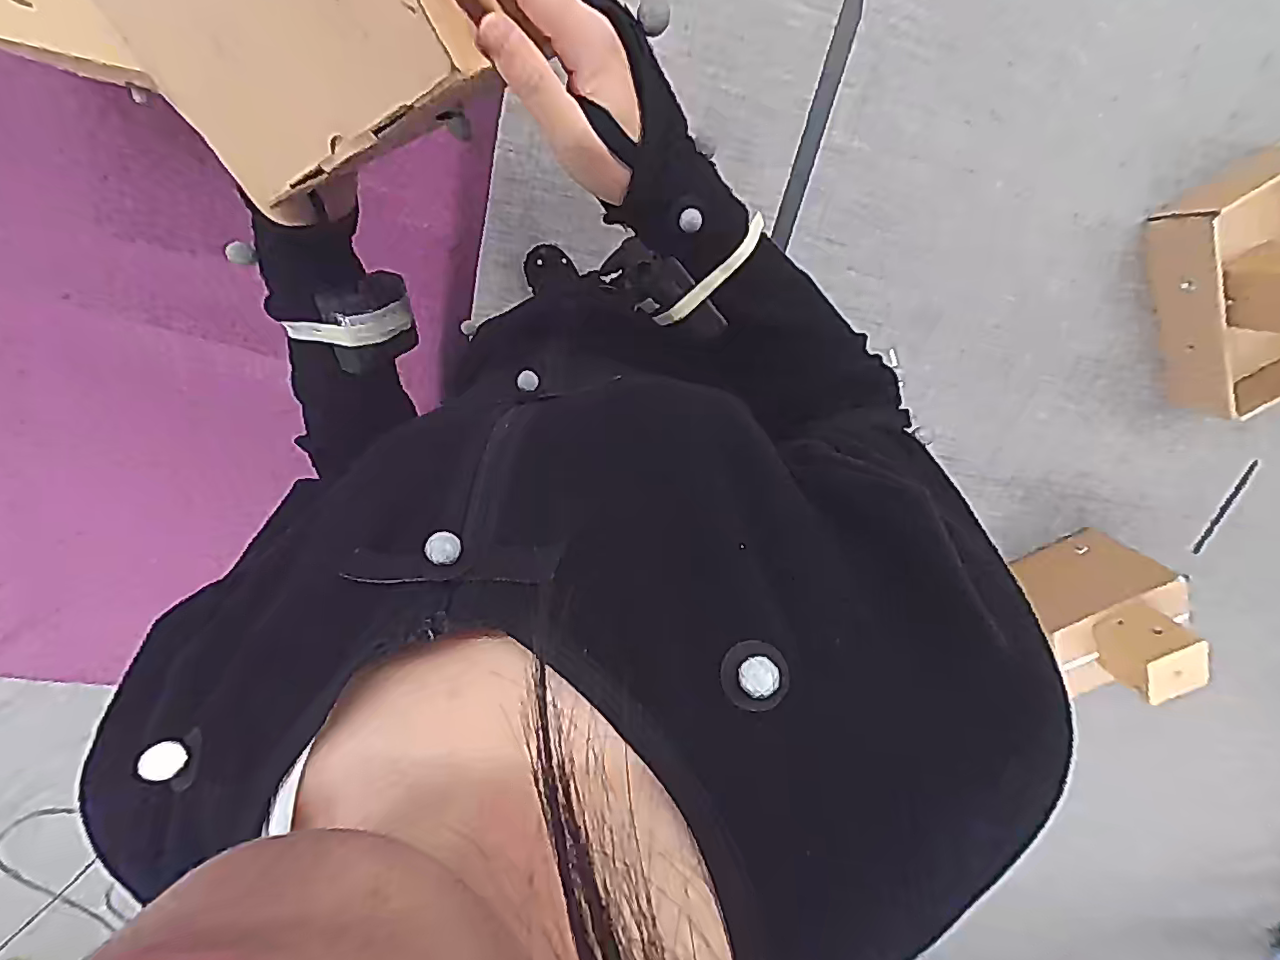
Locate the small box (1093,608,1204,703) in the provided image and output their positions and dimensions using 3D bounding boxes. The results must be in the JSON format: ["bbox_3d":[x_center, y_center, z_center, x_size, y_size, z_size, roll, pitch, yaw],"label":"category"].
[{"bbox_3d":[1.443,0.490,1.544,0.168,0.176,0.179,-26,114,4],"label":"small box"}]

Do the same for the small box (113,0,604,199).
[{"bbox_3d":[-0.141,-0.278,0.262,0.168,0.176,0.179,-5,132,31],"label":"small box"}]

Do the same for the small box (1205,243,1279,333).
[{"bbox_3d":[1.663,-0.513,1.427,0.179,0.176,0.168,-28,113,5],"label":"small box"}]
